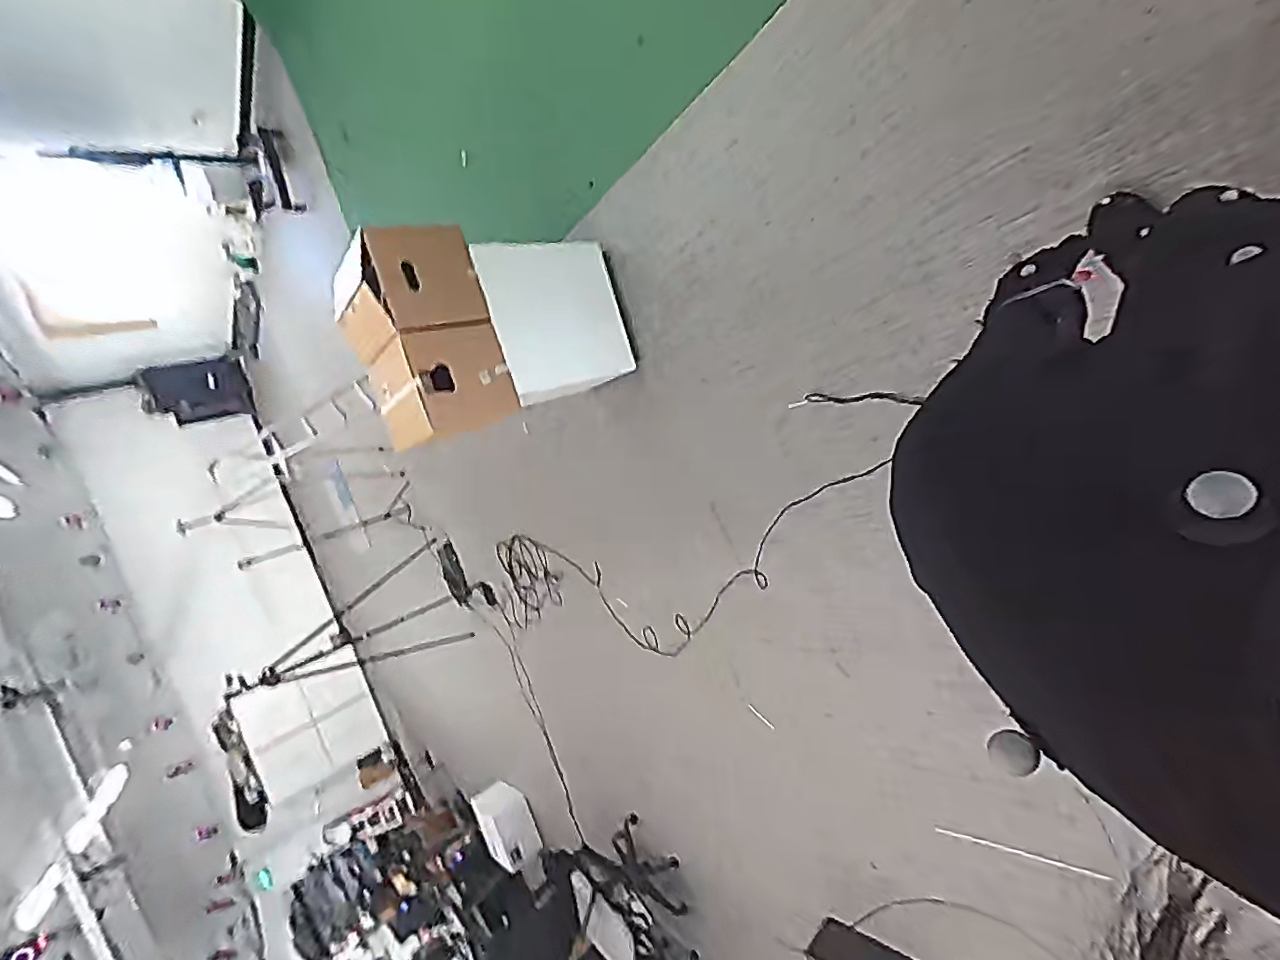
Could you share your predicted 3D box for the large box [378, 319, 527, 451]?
[{"bbox_3d":[-0.643,-0.319,1.845,0.408,0.320,0.320,-11,98,52],"label":"large box"}]
